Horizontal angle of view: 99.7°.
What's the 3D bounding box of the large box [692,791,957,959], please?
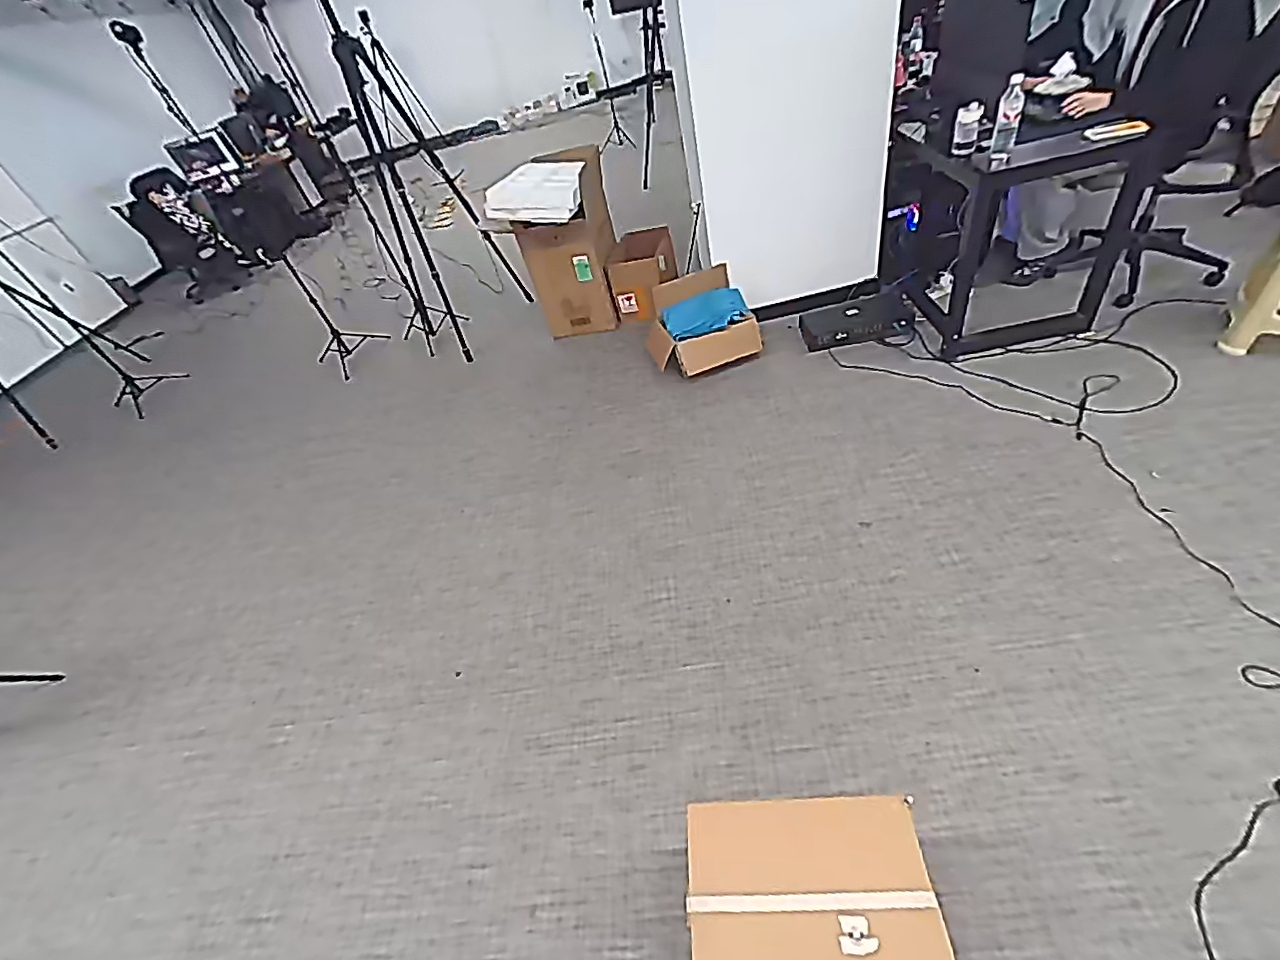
[{"bbox_3d":[0.323,0.813,1.013,0.408,0.320,0.320,-8,43,9],"label":"large box"}]
